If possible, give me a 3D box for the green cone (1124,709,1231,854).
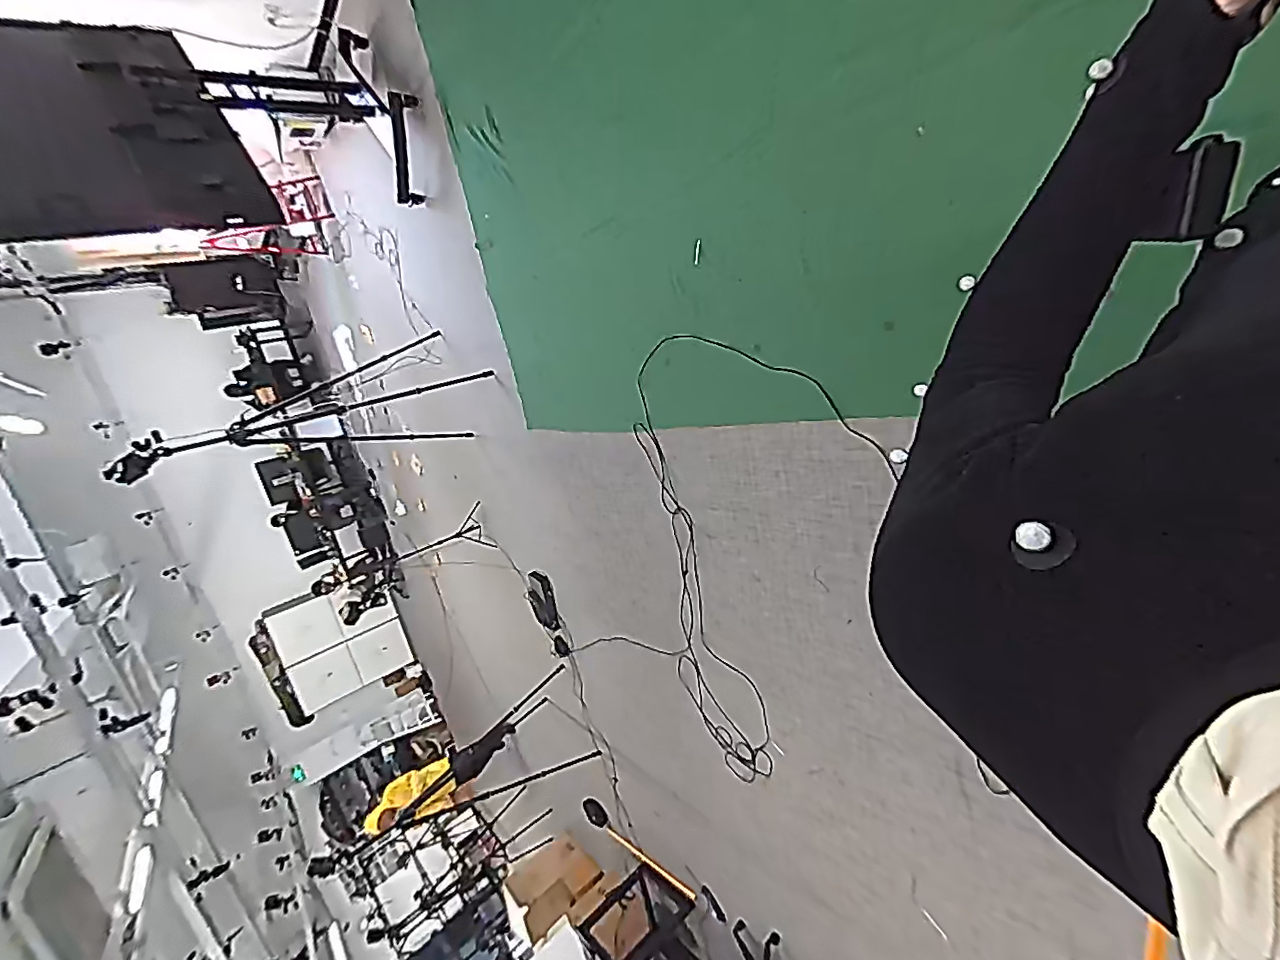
[{"bbox_3d":[1.284,0.772,1.328,0.202,0.368,0.200,5,112,51],"label":"green cone"}]
